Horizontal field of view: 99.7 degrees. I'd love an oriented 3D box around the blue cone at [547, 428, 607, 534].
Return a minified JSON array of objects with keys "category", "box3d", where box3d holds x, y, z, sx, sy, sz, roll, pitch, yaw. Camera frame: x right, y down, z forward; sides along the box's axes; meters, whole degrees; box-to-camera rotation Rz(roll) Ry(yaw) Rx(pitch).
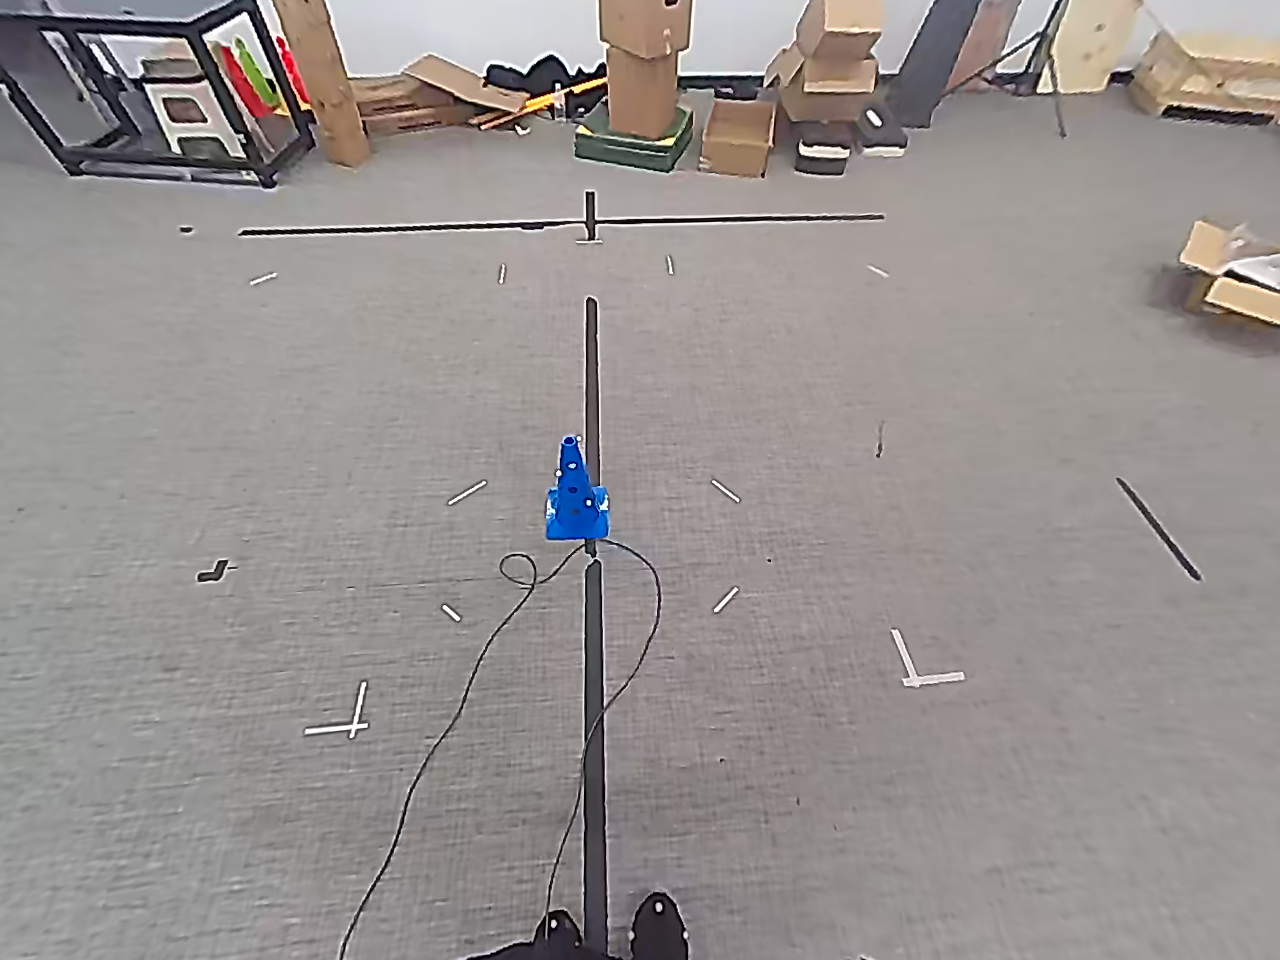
[{"category":"blue cone","box3d":[-0.199,-0.008,1.598,0.193,0.380,0.192,-3,54,-3]}]
